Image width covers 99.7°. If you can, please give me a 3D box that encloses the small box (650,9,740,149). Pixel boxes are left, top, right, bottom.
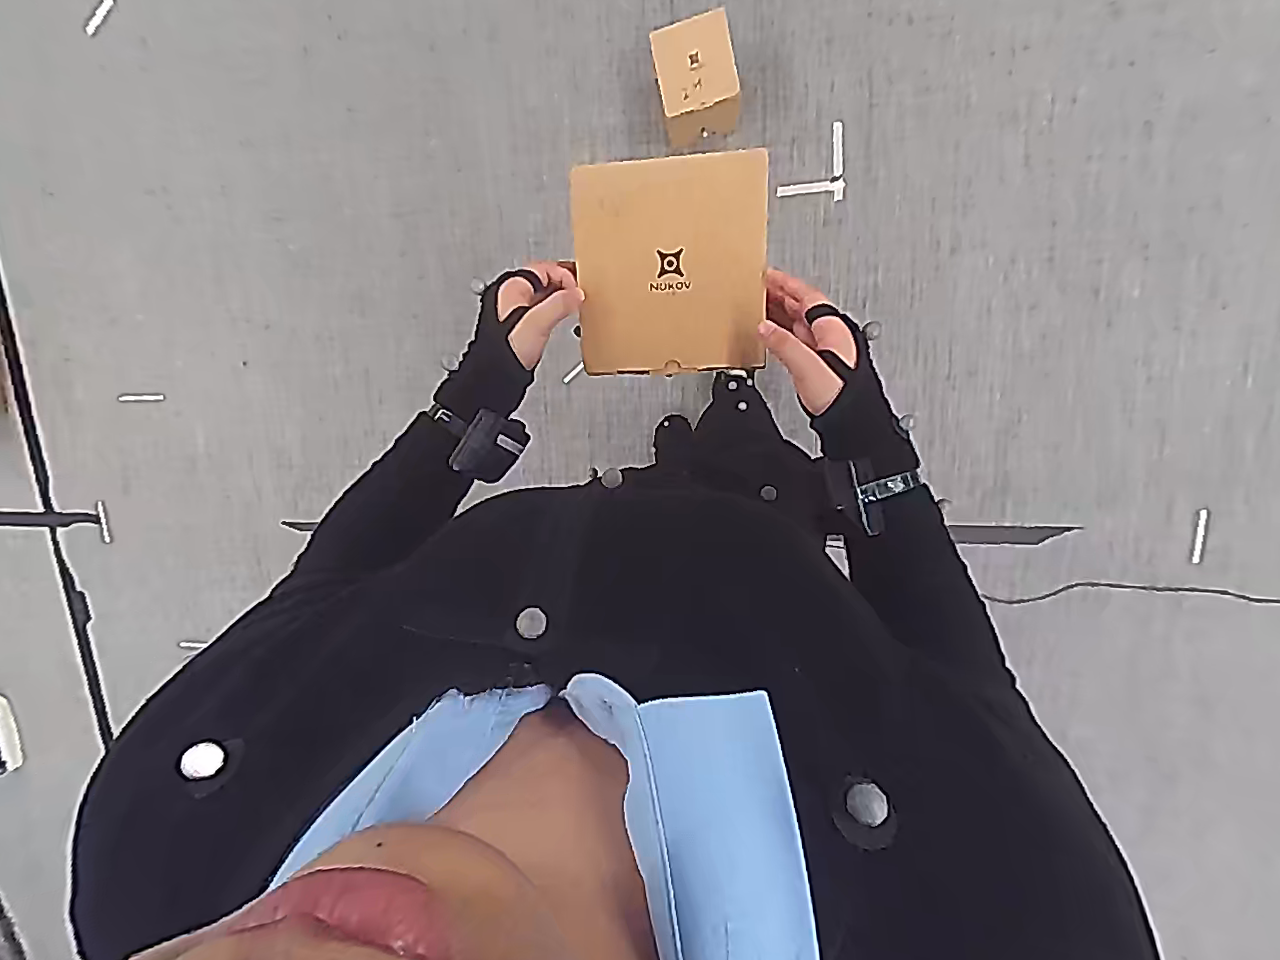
[{"bbox_3d":[0.125,-0.894,1.222,0.168,0.176,0.179,-12,99,9],"label":"small box"}]
